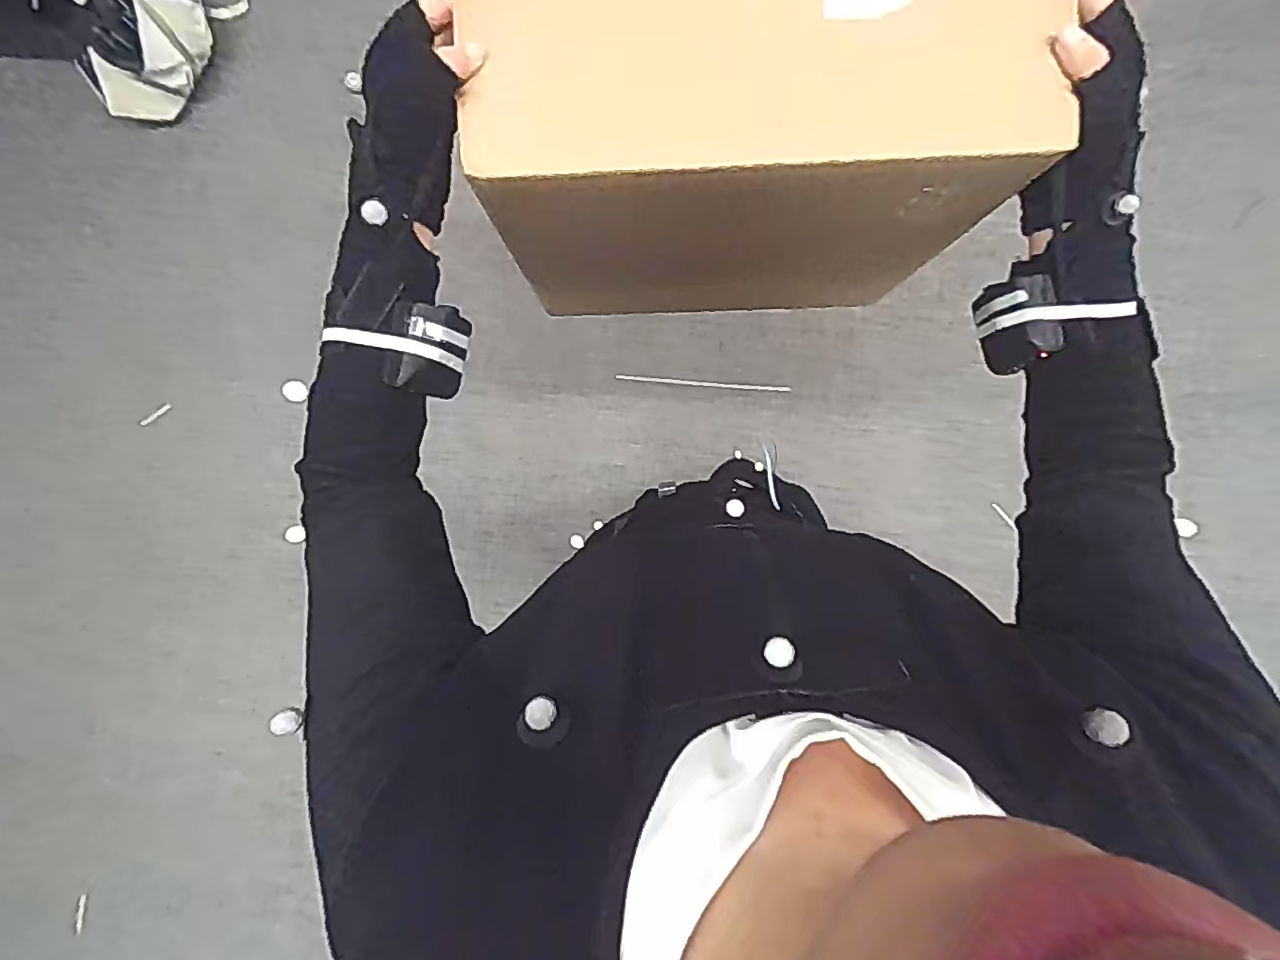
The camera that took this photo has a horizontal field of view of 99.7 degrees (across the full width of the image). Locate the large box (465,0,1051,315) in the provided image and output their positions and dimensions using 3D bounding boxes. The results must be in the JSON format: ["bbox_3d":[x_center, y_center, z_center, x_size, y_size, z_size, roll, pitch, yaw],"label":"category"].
[{"bbox_3d":[0.073,-0.366,0.519,0.408,0.320,0.320,-3,90,0],"label":"large box"}]
